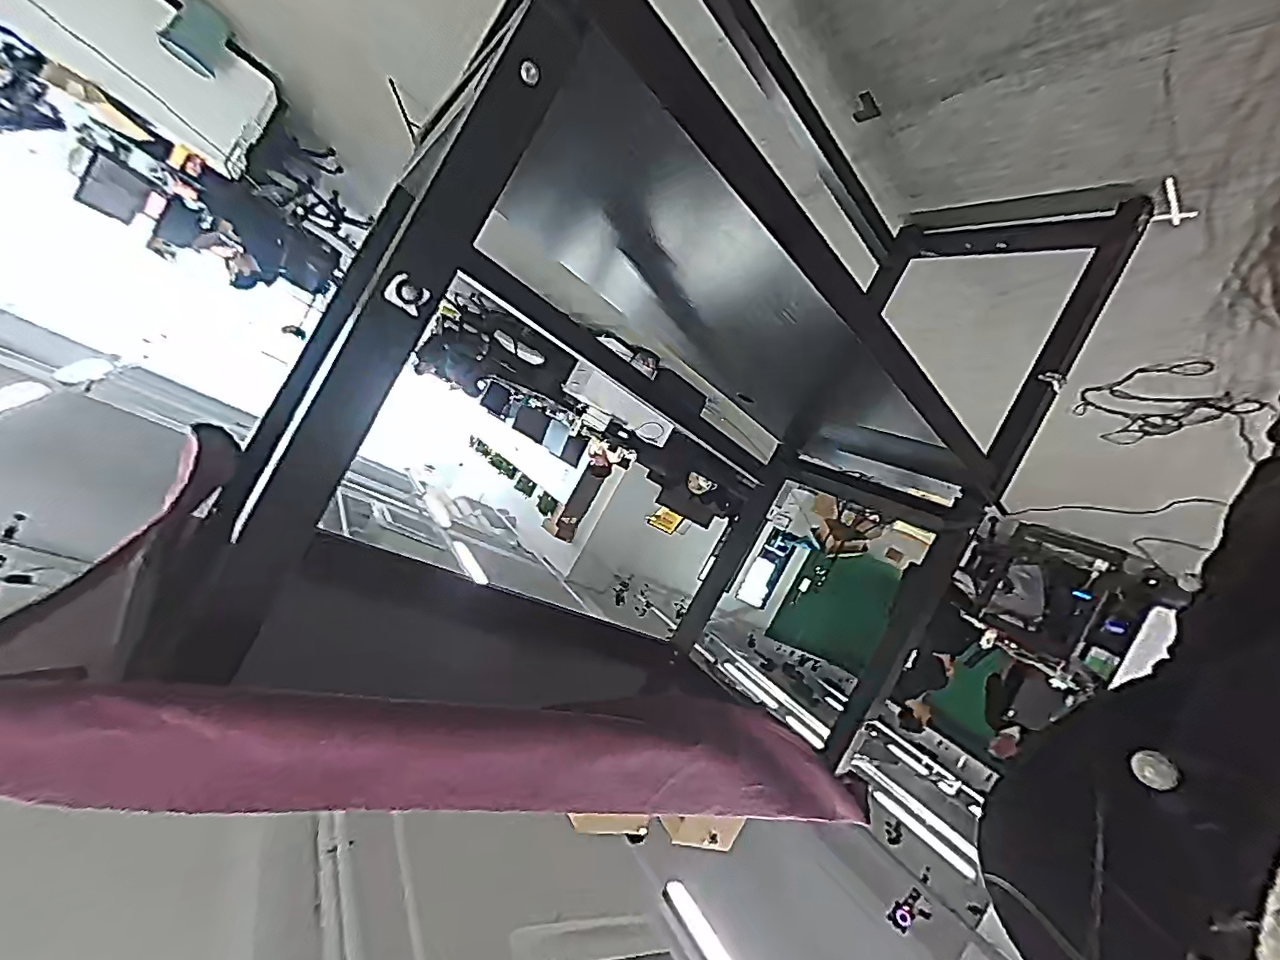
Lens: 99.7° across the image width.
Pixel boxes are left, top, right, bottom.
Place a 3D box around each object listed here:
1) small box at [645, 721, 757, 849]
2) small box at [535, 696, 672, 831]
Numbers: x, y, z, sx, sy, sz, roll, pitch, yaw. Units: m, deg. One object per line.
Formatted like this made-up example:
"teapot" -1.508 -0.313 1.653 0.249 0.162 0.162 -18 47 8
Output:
"small box" 0.117 0.644 1.162 0.168 0.176 0.179 30 180 -29
"small box" -0.069 0.536 1.043 0.168 0.176 0.179 29 179 -37
